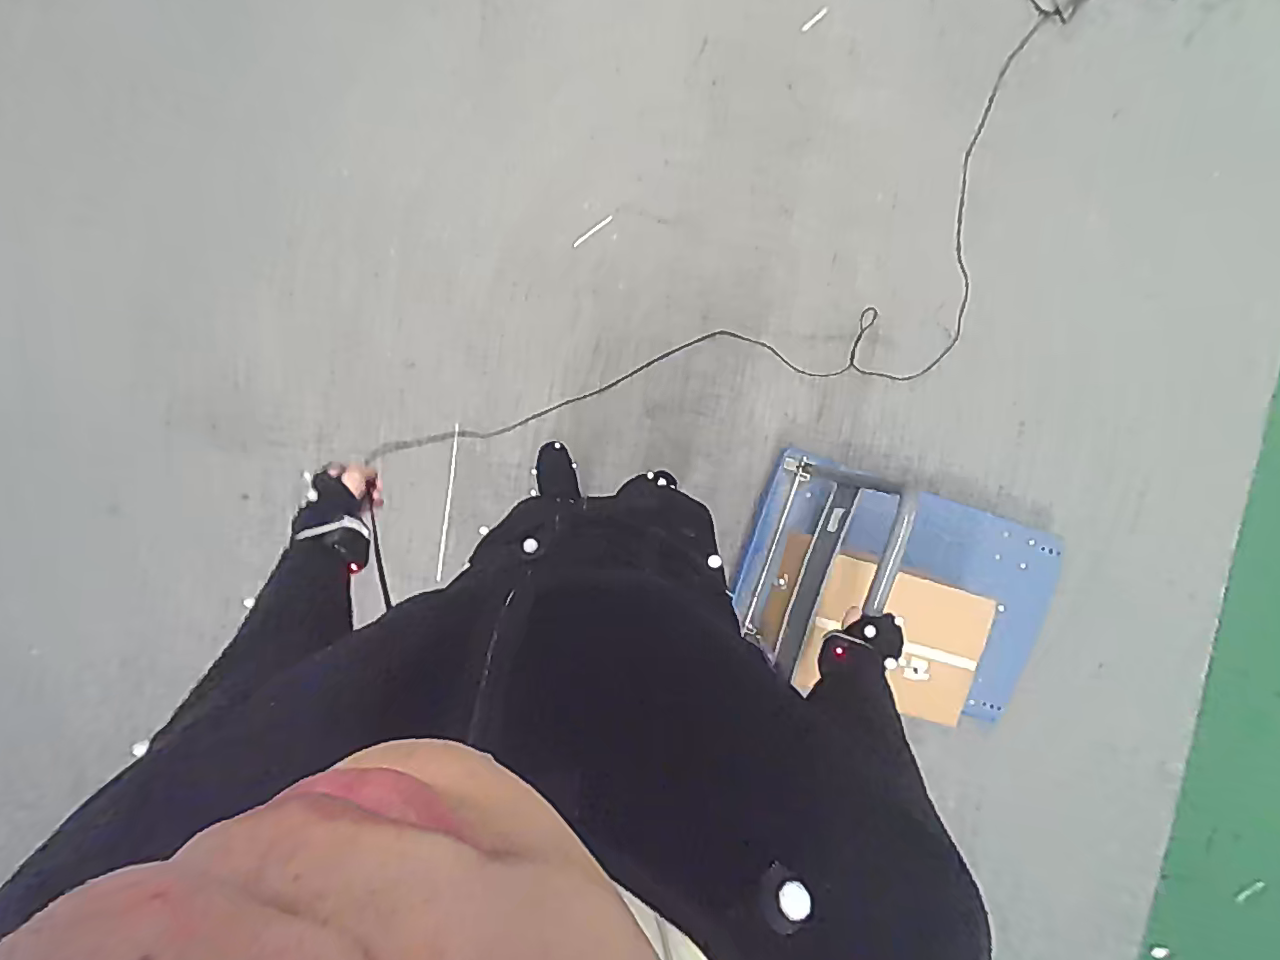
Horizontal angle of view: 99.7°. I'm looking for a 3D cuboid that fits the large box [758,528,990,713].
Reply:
[{"bbox_3d":[0.566,0.336,1.384,0.408,0.320,0.320,17,94,-5],"label":"large box"}]
